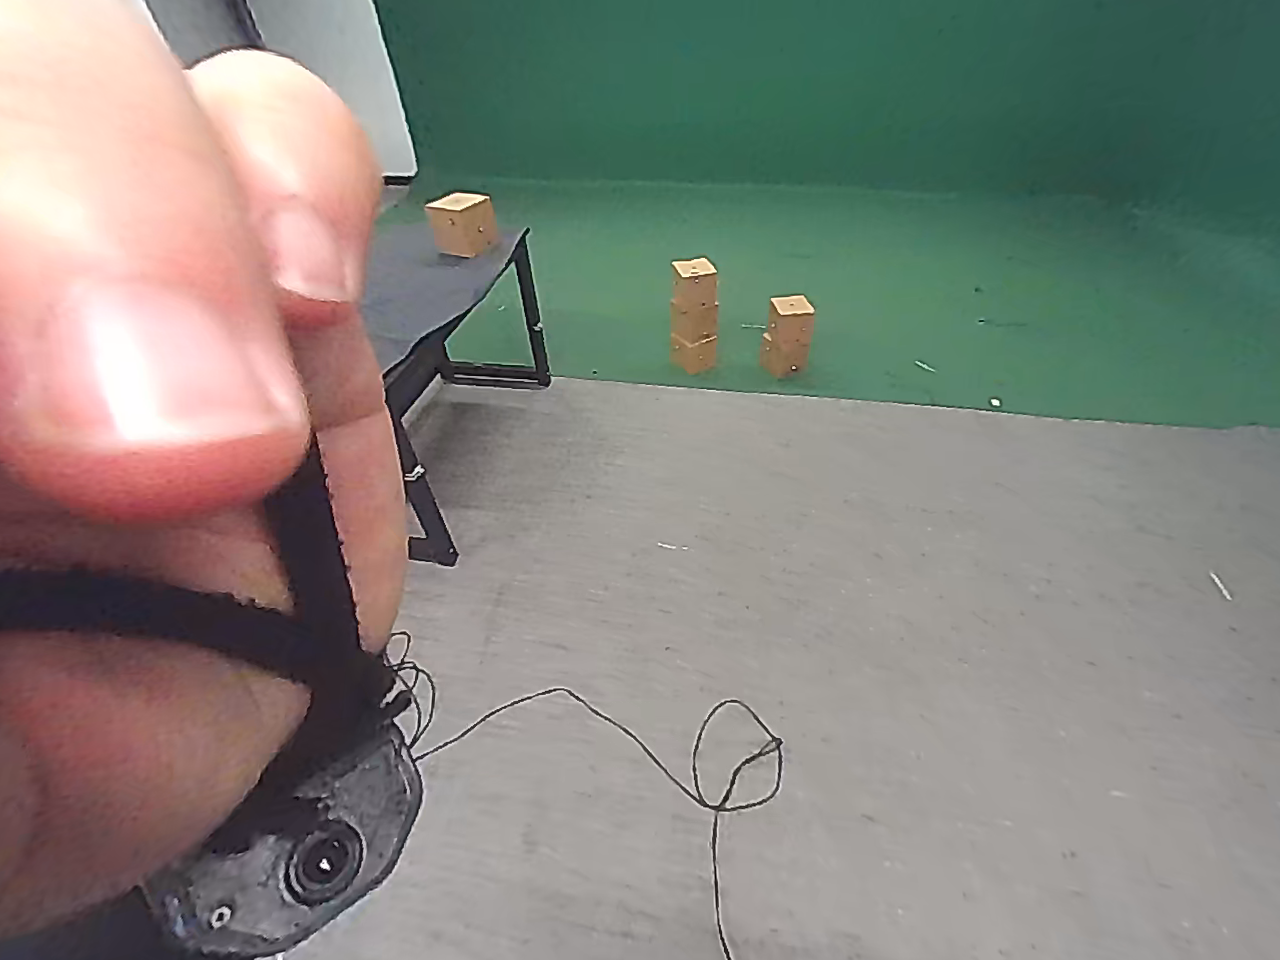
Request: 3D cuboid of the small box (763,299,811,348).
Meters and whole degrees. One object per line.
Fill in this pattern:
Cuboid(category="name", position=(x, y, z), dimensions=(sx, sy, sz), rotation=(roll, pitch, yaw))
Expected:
Cuboid(category="small box", position=(0.695, -0.741, 2.570), dimensions=(0.168, 0.176, 0.179), rotation=(-6, 43, -4))

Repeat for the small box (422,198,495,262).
Cuboid(category="small box", position=(-0.669, -0.931, 2.016), dimensions=(0.179, 0.176, 0.168), rotation=(19, 48, 25))

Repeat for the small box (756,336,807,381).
Cuboid(category="small box", position=(0.695, -0.617, 2.676), dimensions=(0.168, 0.176, 0.179), rotation=(-21, 47, -18))

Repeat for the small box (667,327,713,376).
Cuboid(category="small box", position=(0.254, -0.643, 2.731), dimensions=(0.168, 0.176, 0.179), rotation=(-26, 48, -22))

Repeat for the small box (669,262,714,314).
Cuboid(category="small box", position=(0.236, -0.894, 2.519), dimensions=(0.168, 0.176, 0.179), rotation=(-12, 44, -9))
